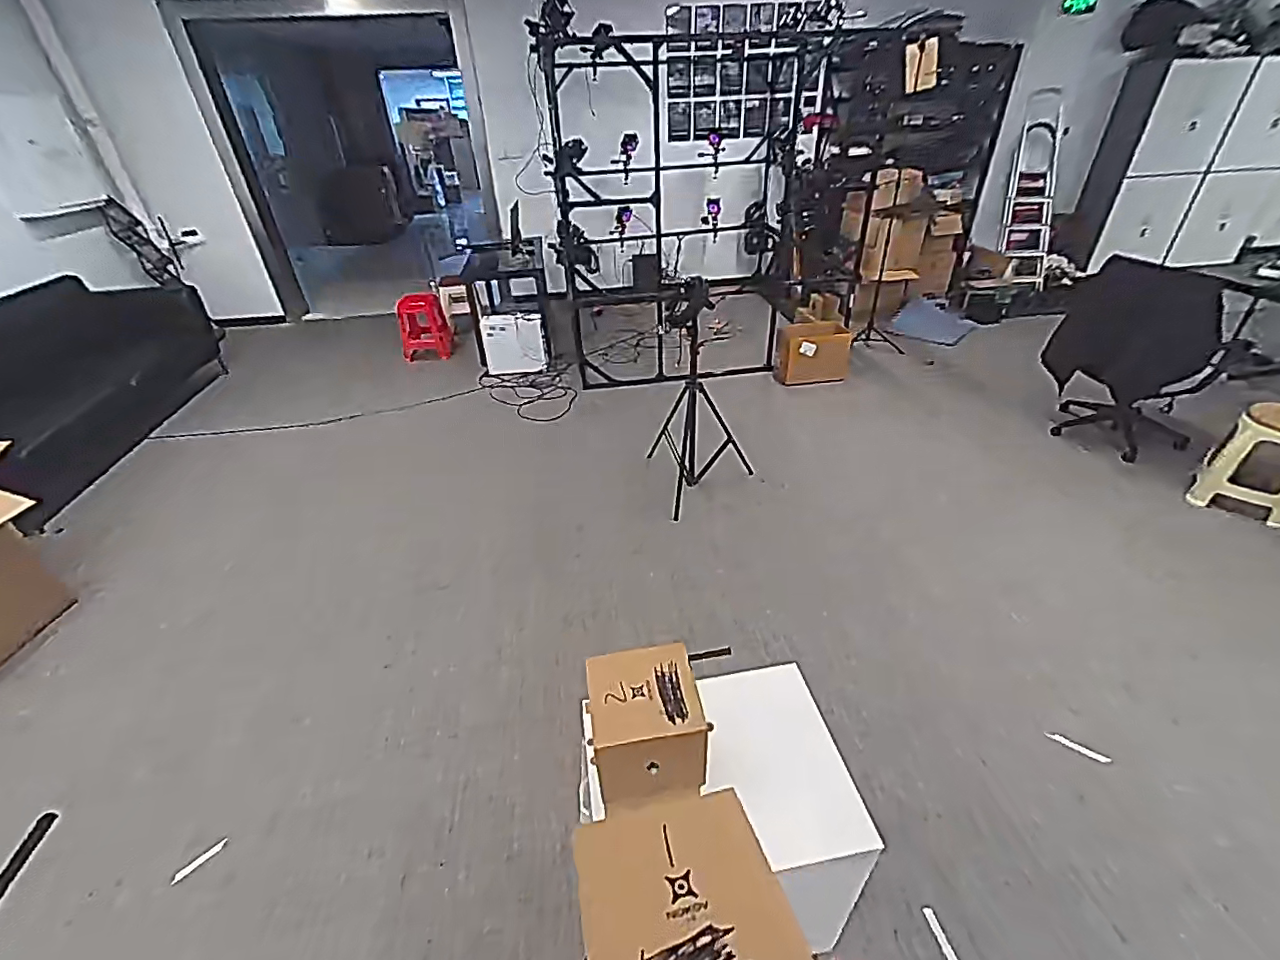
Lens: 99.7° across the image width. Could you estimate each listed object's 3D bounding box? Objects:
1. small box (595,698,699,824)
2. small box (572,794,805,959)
[{"bbox_3d":[0.011,0.541,1.003,0.168,0.176,0.179,-7,34,-6],"label":"small box"},{"bbox_3d":[0.037,0.427,0.474,0.168,0.176,0.179,-6,21,-12],"label":"small box"}]
